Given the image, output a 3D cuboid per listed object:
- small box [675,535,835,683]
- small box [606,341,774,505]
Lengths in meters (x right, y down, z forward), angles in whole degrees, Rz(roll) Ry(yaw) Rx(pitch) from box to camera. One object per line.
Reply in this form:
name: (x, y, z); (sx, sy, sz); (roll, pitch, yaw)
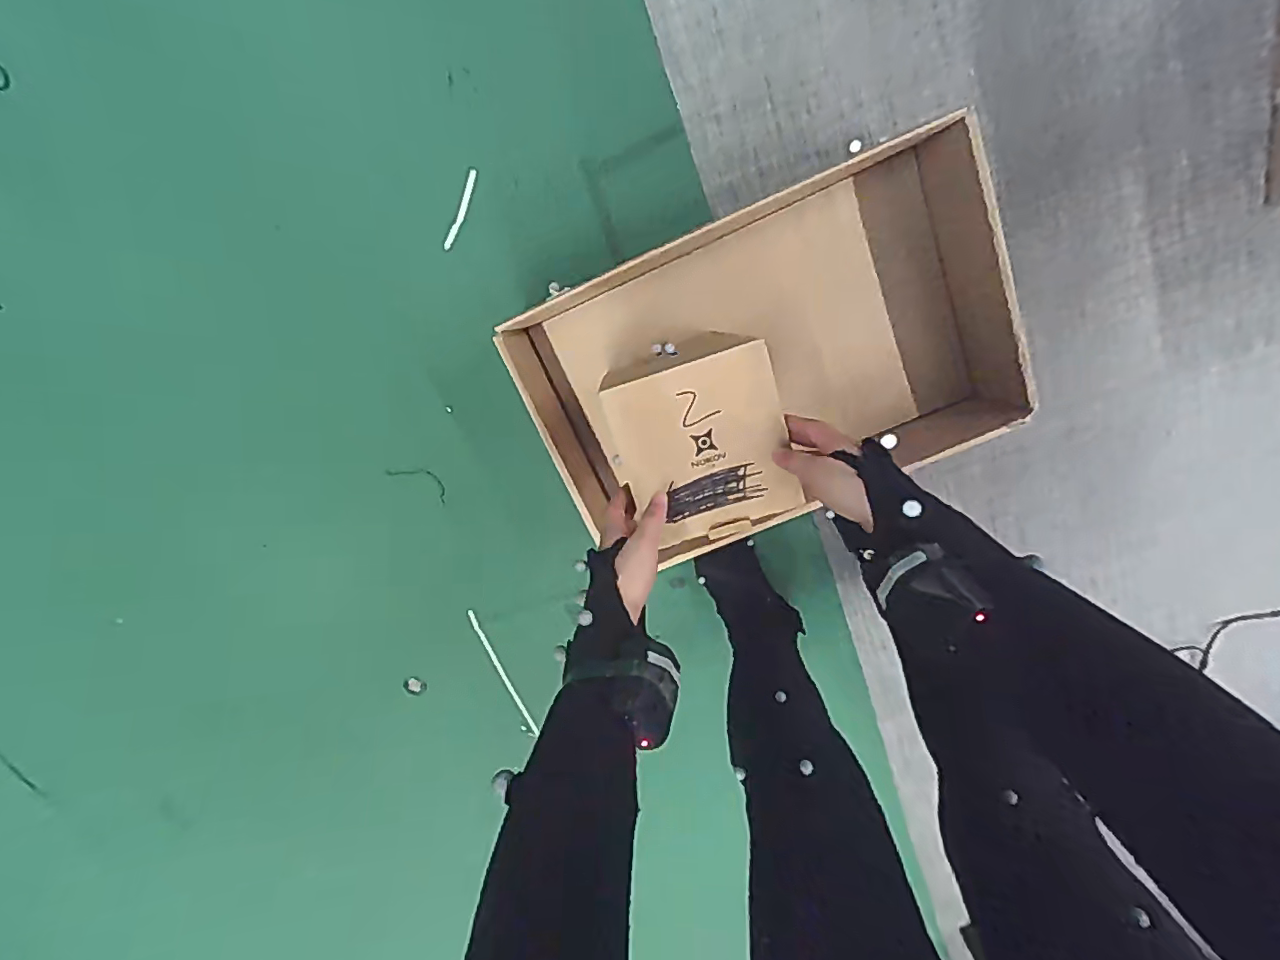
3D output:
small box: (0.194, 0.210, 0.890); (0.176, 0.168, 0.179); (26, 80, -32)
small box: (0.067, -0.088, 0.771); (0.179, 0.176, 0.168); (-23, 105, 5)
